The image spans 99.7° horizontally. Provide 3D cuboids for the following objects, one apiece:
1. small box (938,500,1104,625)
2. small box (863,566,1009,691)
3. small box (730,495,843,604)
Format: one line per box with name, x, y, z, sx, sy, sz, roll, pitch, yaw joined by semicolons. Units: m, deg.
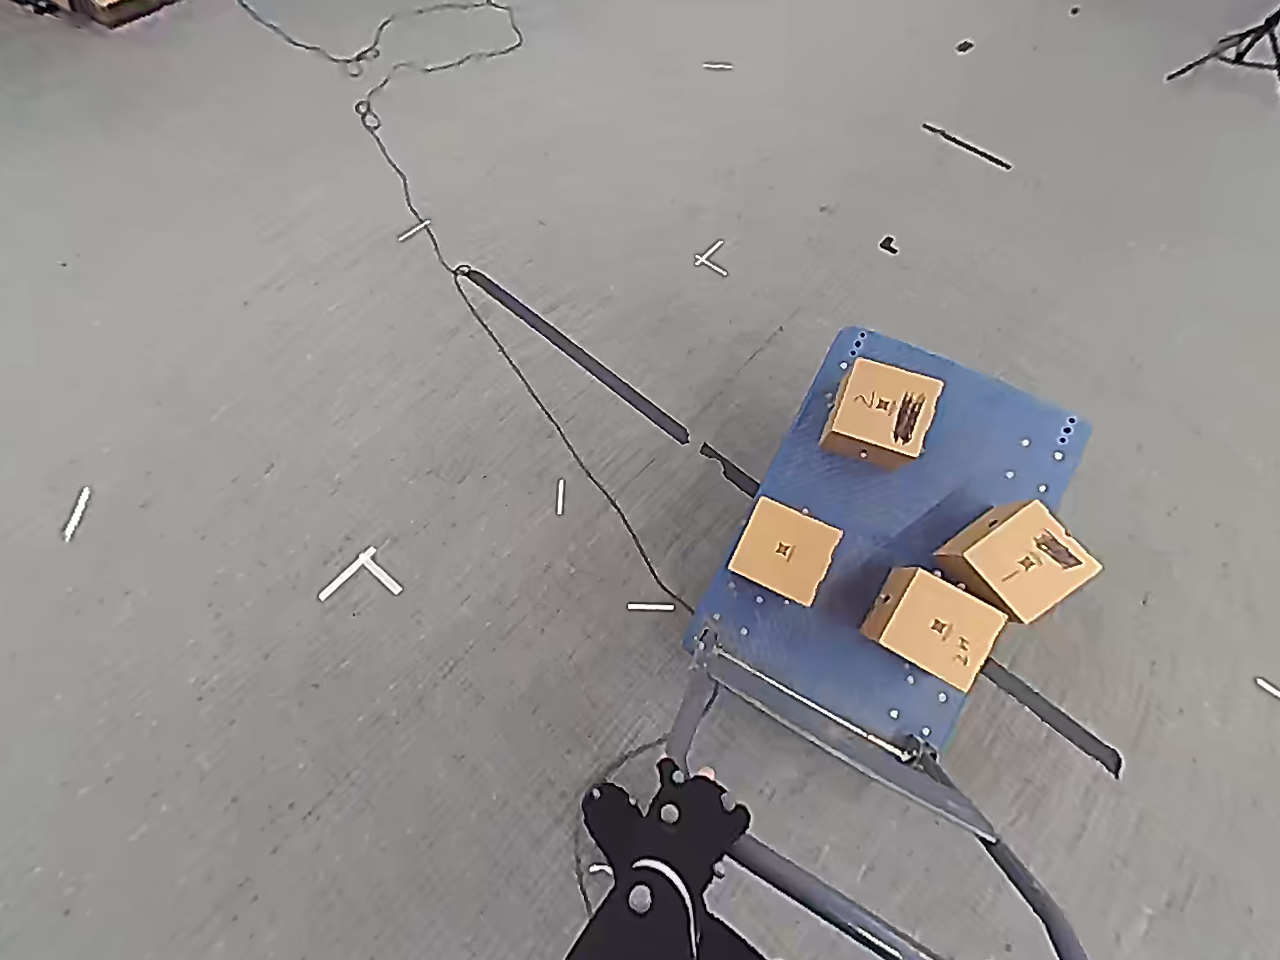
small box;0.737;0.160;1.073;0.179;0.176;0.168;-38;77;4
small box;0.577;0.288;1.082;0.179;0.176;0.168;30;88;13
small box;0.301;0.148;1.151;0.179;0.176;0.168;25;87;11
